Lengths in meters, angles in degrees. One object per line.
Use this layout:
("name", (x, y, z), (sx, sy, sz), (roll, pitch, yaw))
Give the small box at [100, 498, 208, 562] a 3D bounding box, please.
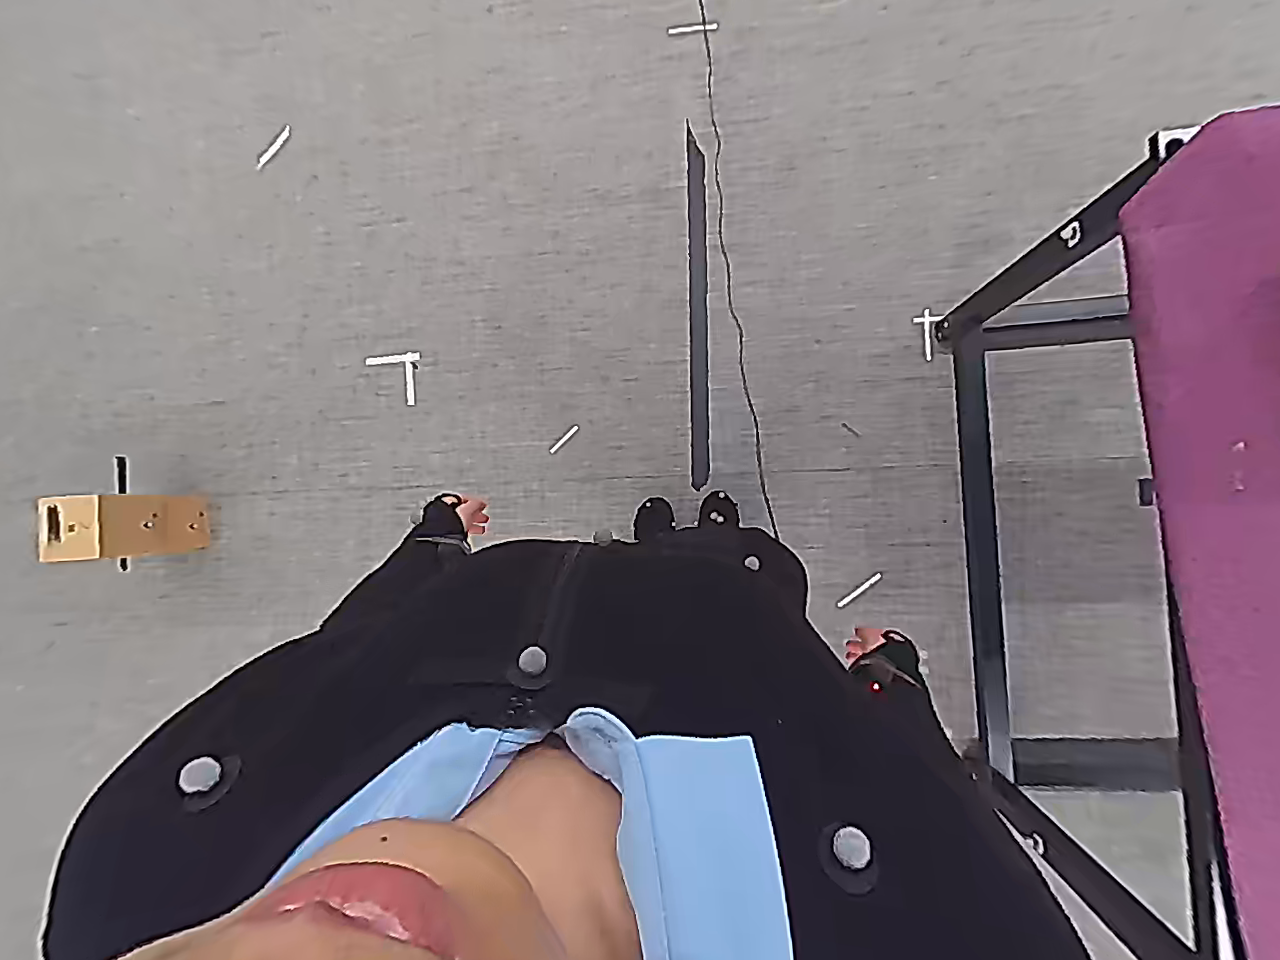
("small box", (-1.436, 0.146, 1.604), (0.179, 0.176, 0.168), (-7, 88, 6))
